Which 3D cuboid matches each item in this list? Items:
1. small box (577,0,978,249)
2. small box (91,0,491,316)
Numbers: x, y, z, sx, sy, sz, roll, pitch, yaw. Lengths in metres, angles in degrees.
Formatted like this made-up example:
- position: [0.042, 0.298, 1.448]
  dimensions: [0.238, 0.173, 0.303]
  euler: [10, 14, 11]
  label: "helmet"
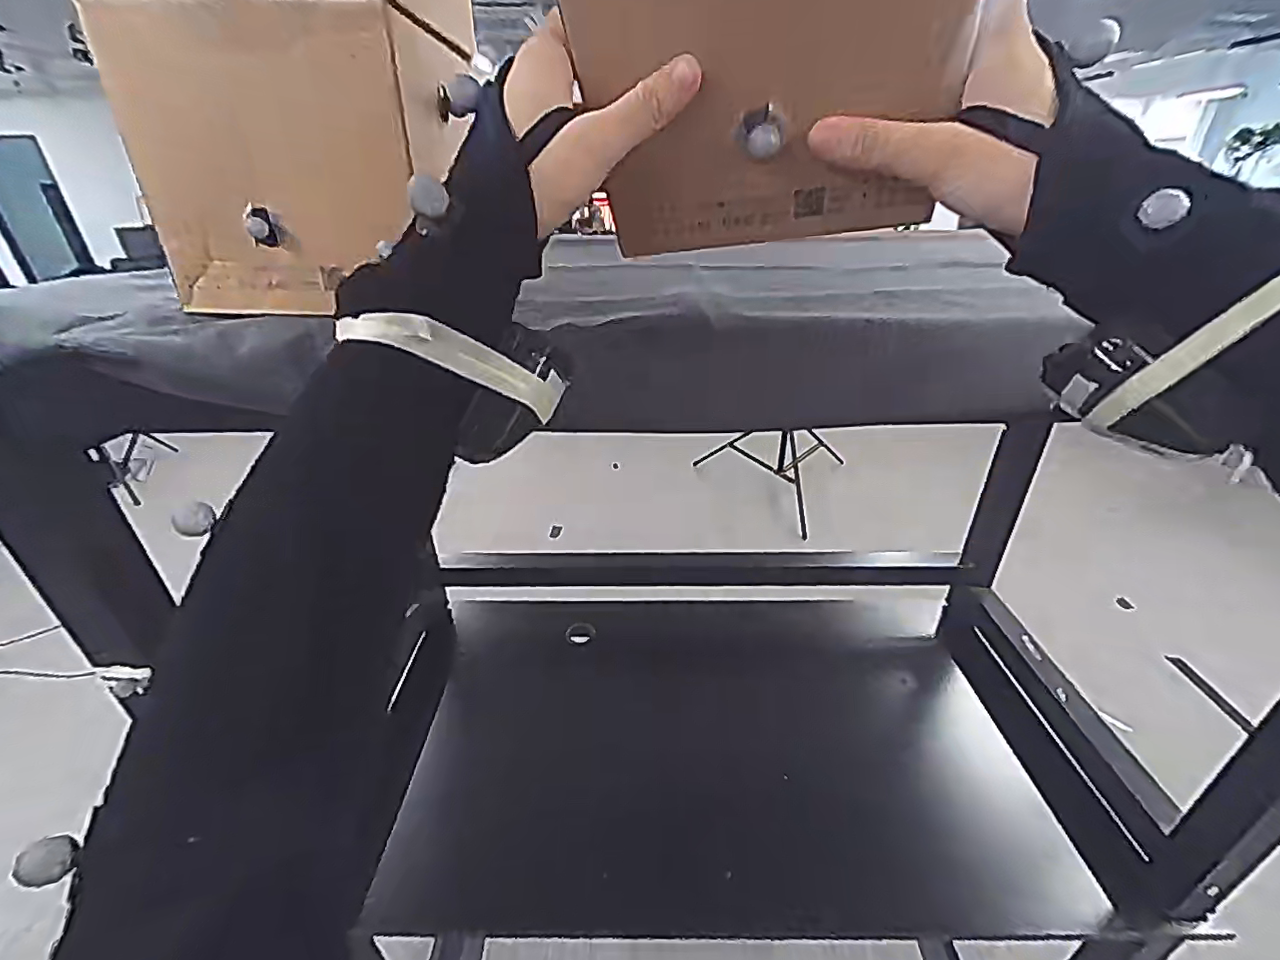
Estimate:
- position: [0.066, -0.250, 0.282]
  dimensions: [0.168, 0.176, 0.179]
  euler: [-2, 54, 15]
  label: "small box"
- position: [-0.212, -0.222, 0.390]
  dimensions: [0.168, 0.176, 0.179]
  euler: [0, 28, -1]
  label: "small box"
